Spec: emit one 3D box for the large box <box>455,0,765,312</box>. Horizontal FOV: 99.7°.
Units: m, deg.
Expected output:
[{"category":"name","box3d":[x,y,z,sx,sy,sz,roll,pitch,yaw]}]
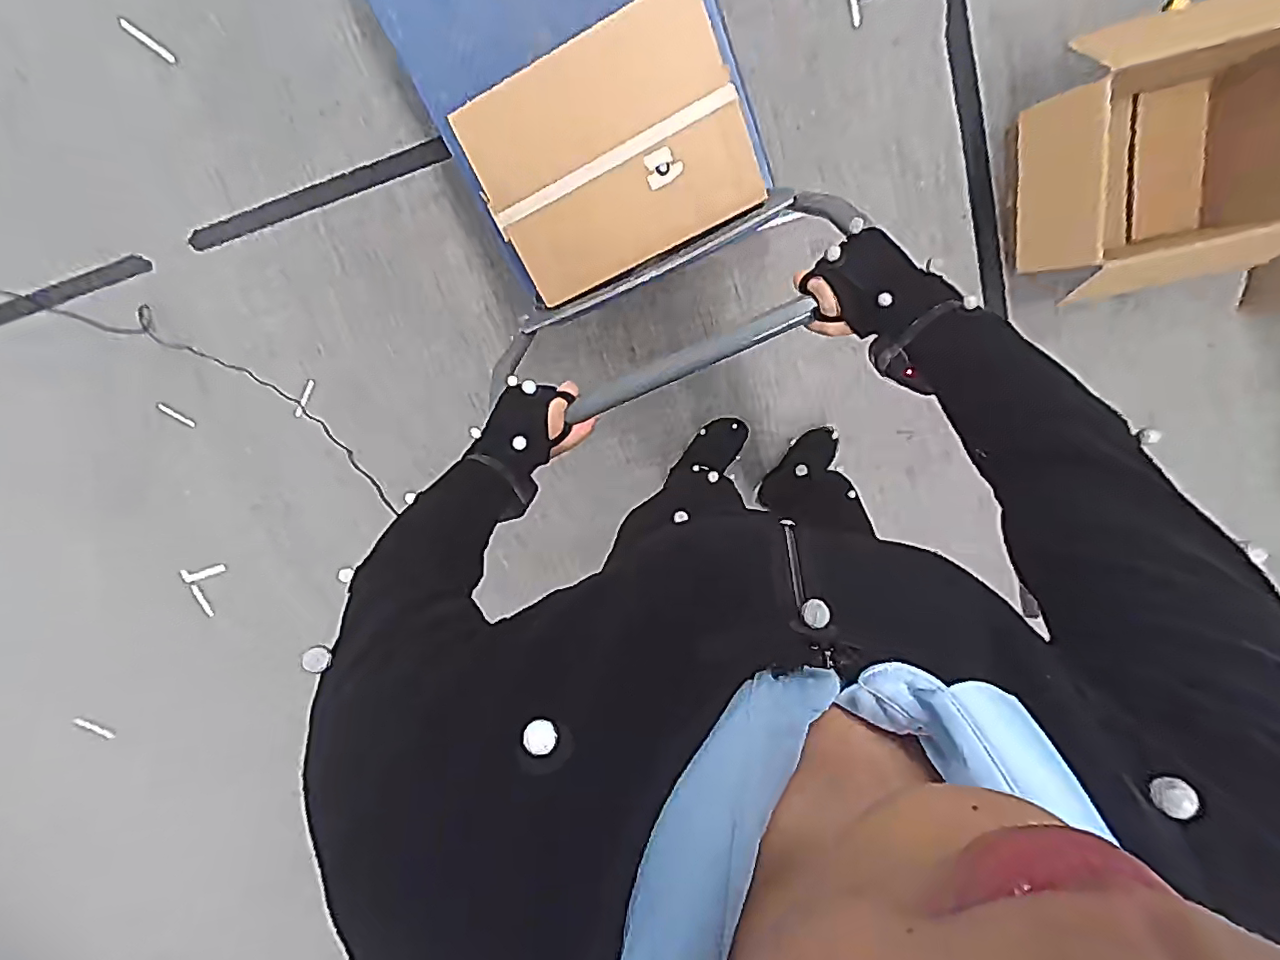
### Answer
[{"category":"large box","box3d":[-0.042,-0.552,0.971,0.408,0.320,0.320,-23,114,11]}]
